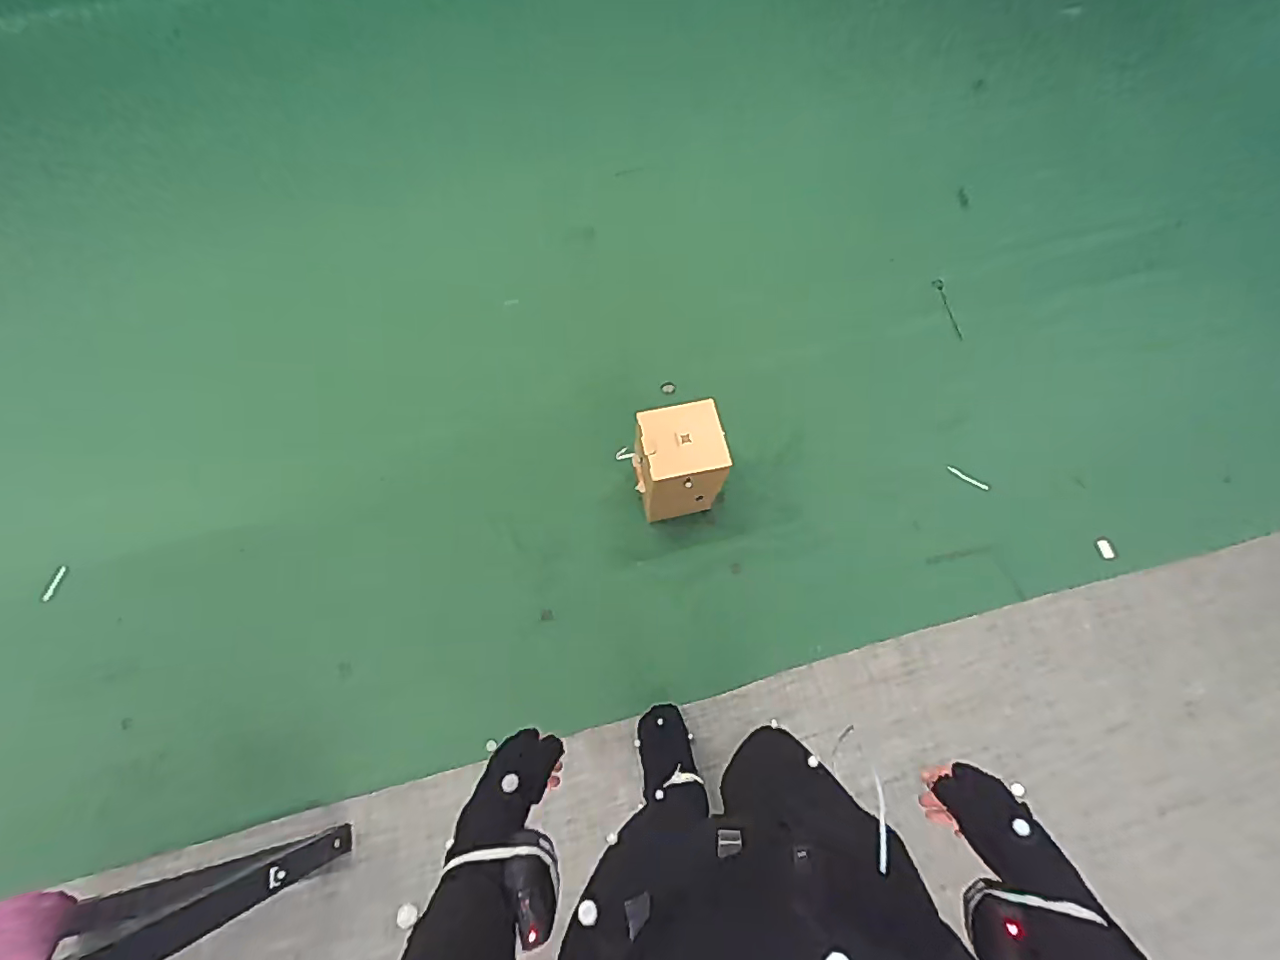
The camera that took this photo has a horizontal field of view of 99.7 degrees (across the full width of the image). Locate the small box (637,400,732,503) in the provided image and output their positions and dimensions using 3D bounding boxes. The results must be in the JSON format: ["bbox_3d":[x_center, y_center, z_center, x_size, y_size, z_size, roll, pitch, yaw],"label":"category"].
[{"bbox_3d":[0.093,-0.060,1.236,0.179,0.176,0.168,-11,70,-5],"label":"small box"}]

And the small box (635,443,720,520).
[{"bbox_3d":[0.089,-0.009,1.391,0.179,0.176,0.168,-12,70,-5],"label":"small box"}]
